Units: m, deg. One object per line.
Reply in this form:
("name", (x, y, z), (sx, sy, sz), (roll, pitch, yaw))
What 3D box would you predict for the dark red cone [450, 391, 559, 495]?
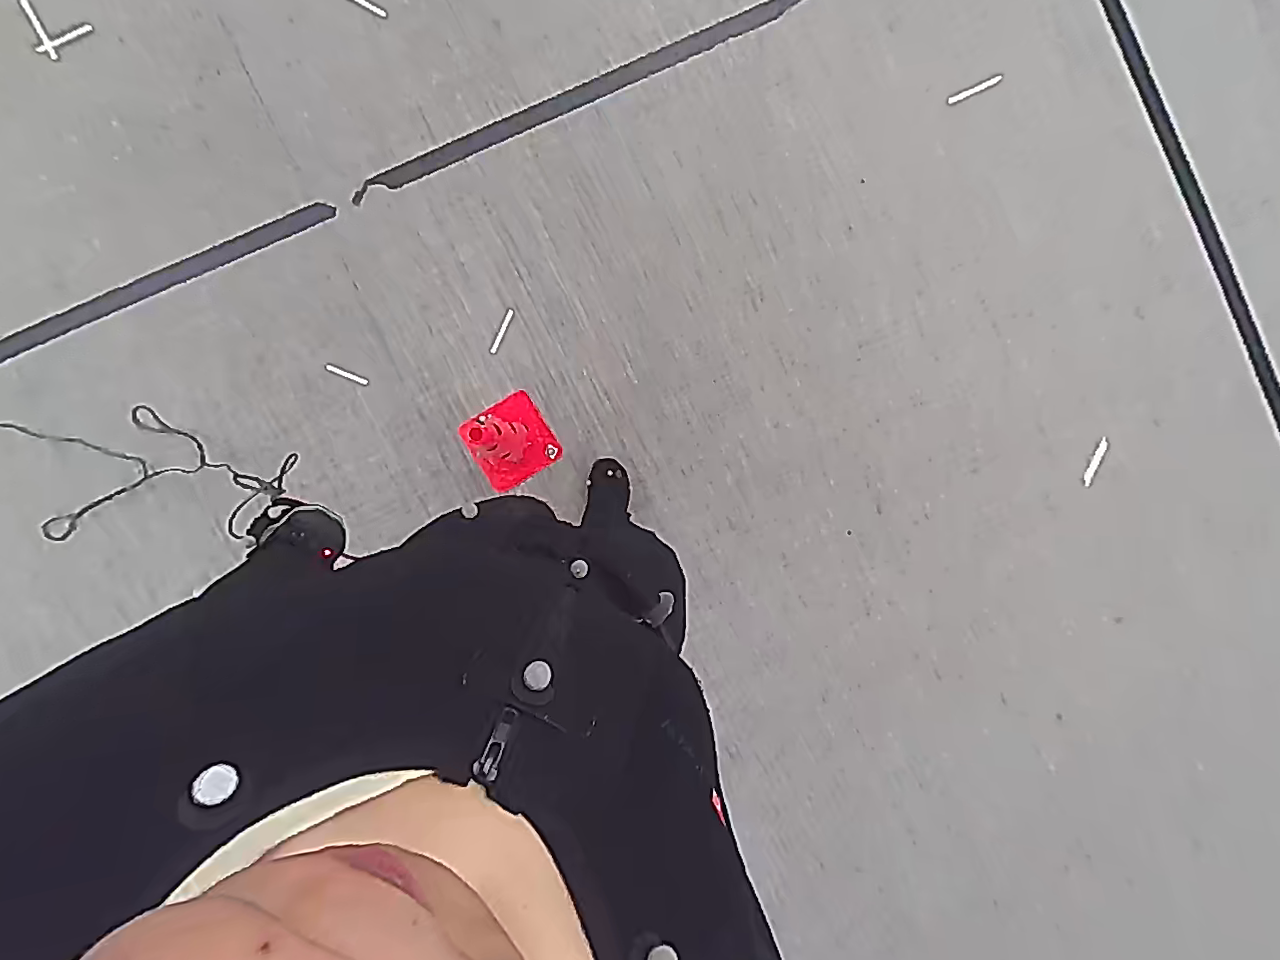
("dark red cone", (-0.317, -0.086, 1.142), (0.202, 0.394, 0.201), (-33, 92, -1))
